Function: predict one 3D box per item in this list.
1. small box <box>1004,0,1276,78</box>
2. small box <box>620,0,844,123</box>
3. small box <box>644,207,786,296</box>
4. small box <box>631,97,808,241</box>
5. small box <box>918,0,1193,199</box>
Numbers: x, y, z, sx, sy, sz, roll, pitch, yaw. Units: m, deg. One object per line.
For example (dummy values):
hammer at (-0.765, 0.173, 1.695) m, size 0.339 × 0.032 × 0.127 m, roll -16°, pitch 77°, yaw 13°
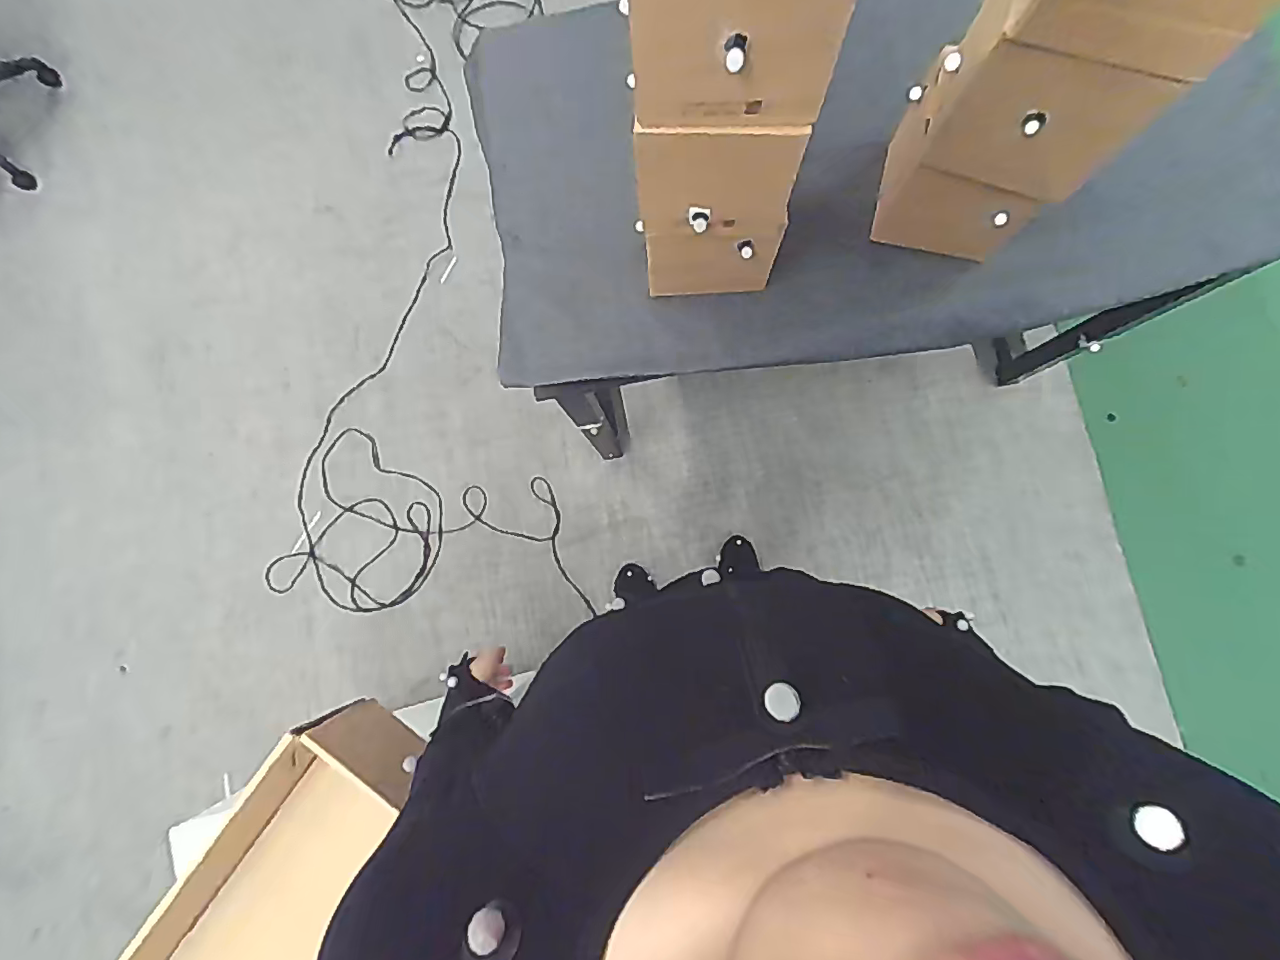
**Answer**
small box at (0.425, -0.457, 0.412) m, size 0.179 × 0.176 × 0.168 m, roll 18°, pitch 83°, yaw 5°
small box at (0.073, -0.418, 0.429) m, size 0.168 × 0.176 × 0.179 m, roll 2°, pitch 83°, yaw 4°
small box at (0.093, -0.372, 0.751) m, size 0.179 × 0.176 × 0.168 m, roll -2°, pitch 82°, yaw 3°
small box at (0.083, -0.390, 0.590) m, size 0.168 × 0.176 × 0.179 m, roll 3°, pitch 83°, yaw 5°
small box at (0.436, -0.436, 0.573) m, size 0.179 × 0.176 × 0.168 m, roll 21°, pitch 83°, yaw 6°
